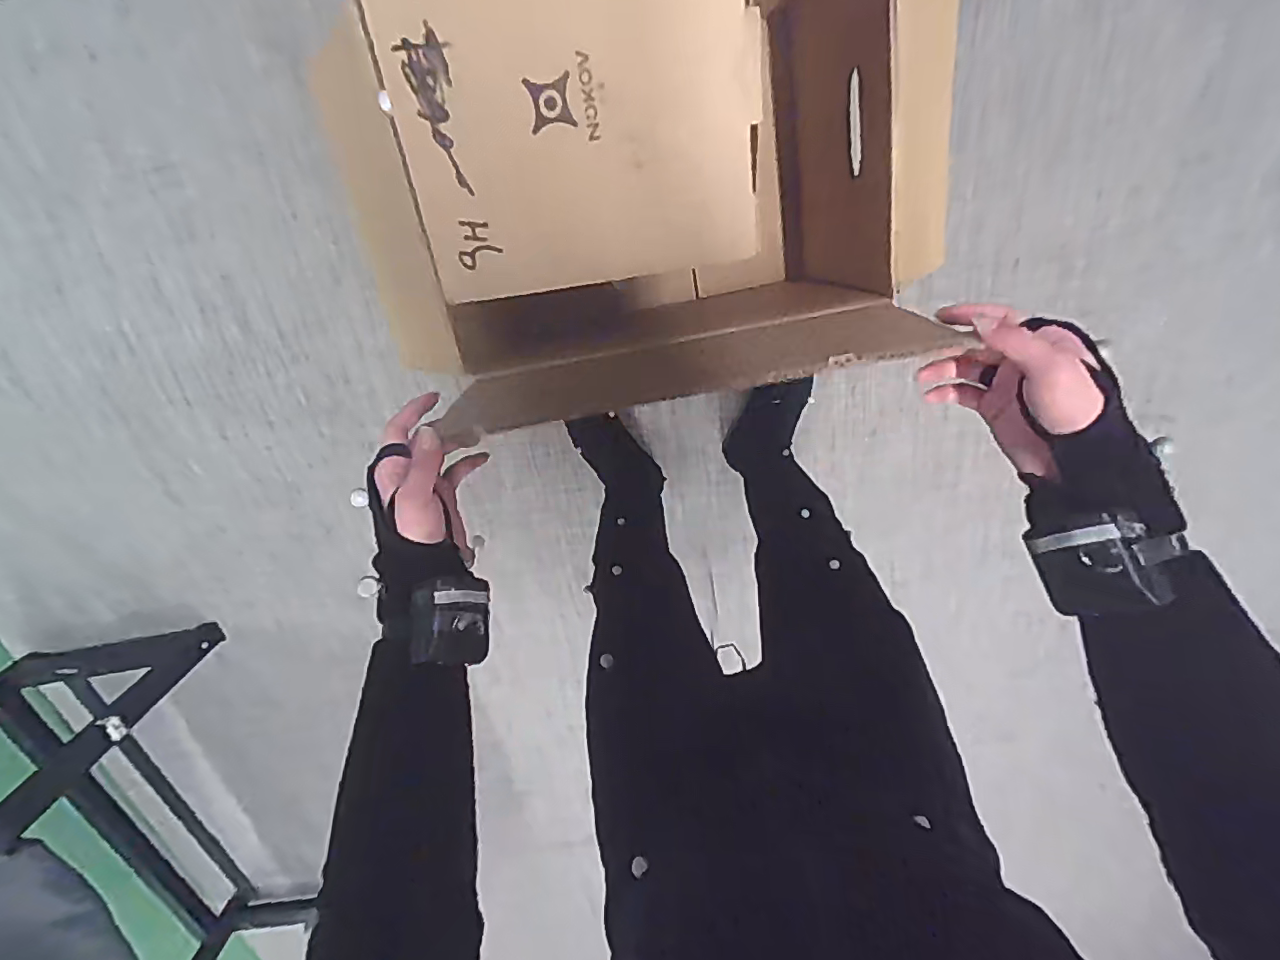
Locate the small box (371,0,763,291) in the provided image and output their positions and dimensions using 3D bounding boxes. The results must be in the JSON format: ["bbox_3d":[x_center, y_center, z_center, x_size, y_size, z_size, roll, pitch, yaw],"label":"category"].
[{"bbox_3d":[-0.029,-0.220,0.330,0.179,0.176,0.168,-6,115,5],"label":"small box"}]
